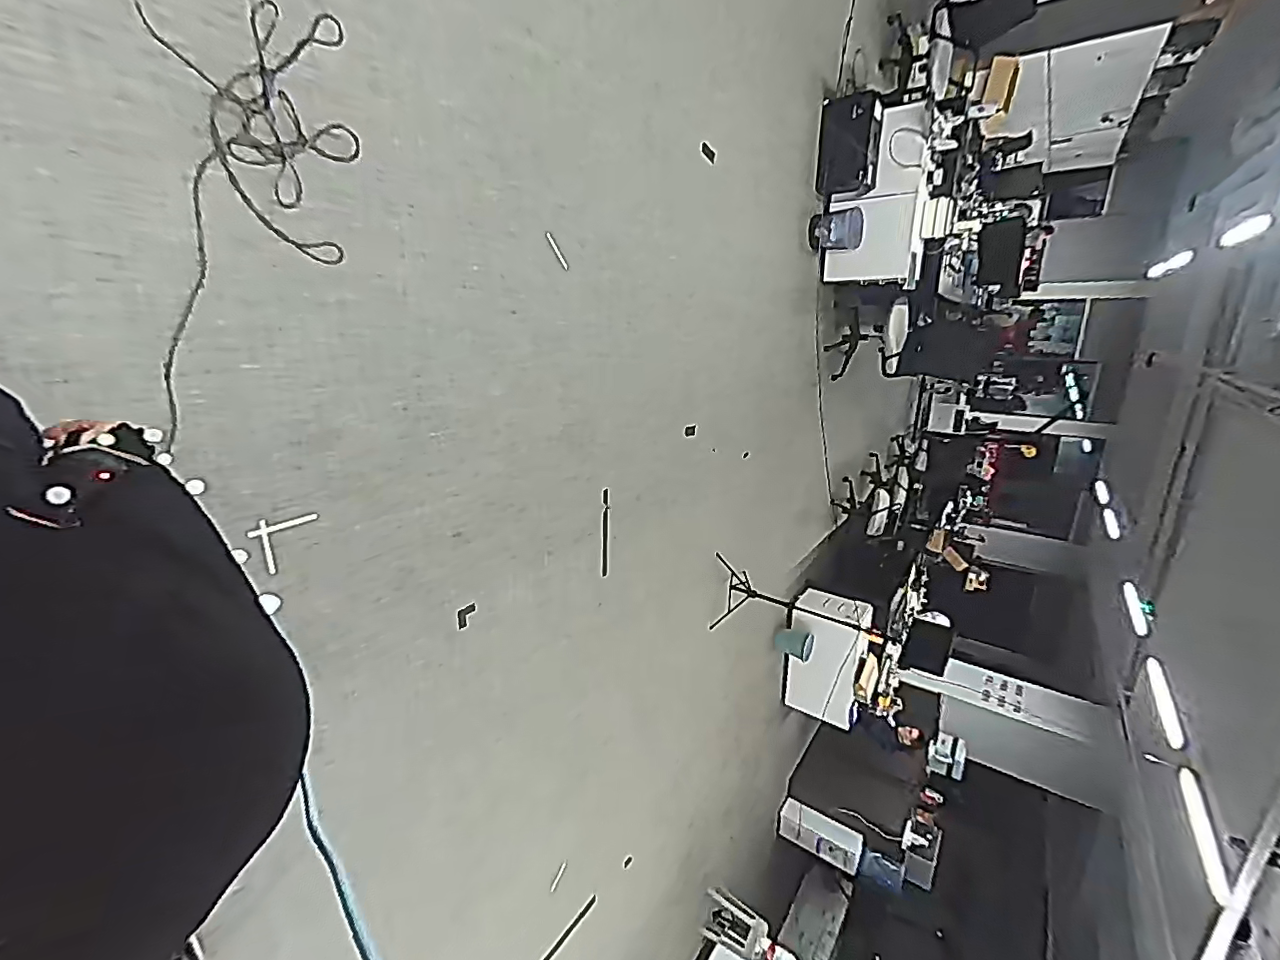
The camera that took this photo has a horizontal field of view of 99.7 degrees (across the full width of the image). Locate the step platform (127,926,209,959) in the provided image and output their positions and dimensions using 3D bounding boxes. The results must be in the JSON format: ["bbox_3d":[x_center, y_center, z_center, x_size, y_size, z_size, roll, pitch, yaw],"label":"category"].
[{"bbox_3d":[-1.156,1.185,0.945,0.684,0.204,0.286,-13,108,-52],"label":"step platform"}]
